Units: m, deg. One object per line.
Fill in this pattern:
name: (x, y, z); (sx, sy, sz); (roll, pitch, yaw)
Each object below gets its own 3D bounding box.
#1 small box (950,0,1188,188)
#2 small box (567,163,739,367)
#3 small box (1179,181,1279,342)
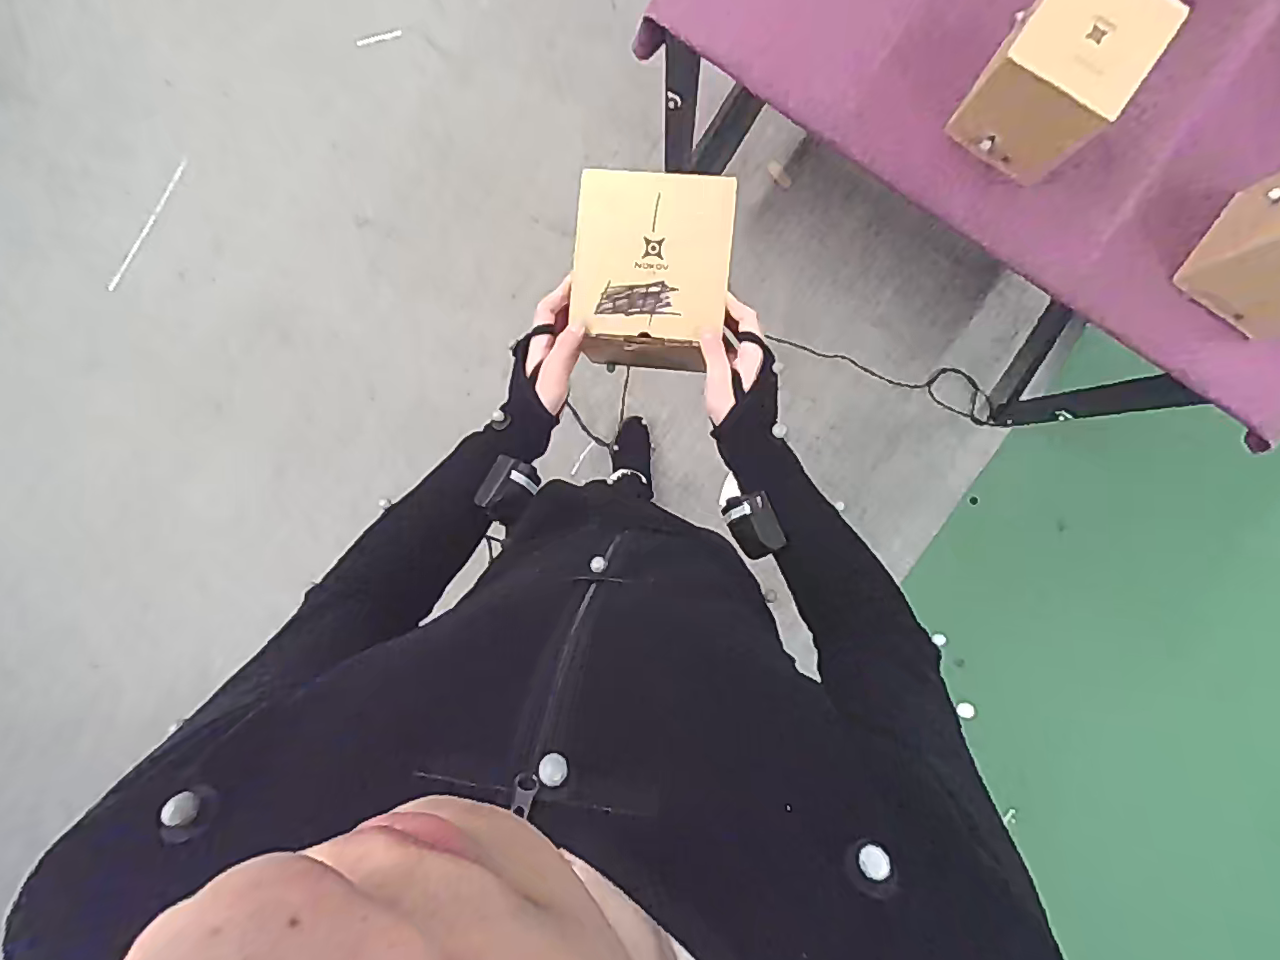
small box: (0.592, -0.571, 0.776); (0.168, 0.176, 0.179); (35, 92, 2)
small box: (0.017, -0.236, 0.636); (0.168, 0.176, 0.179); (5, 91, 3)
small box: (0.946, -0.328, 0.768); (0.168, 0.176, 0.179); (37, 90, 2)
